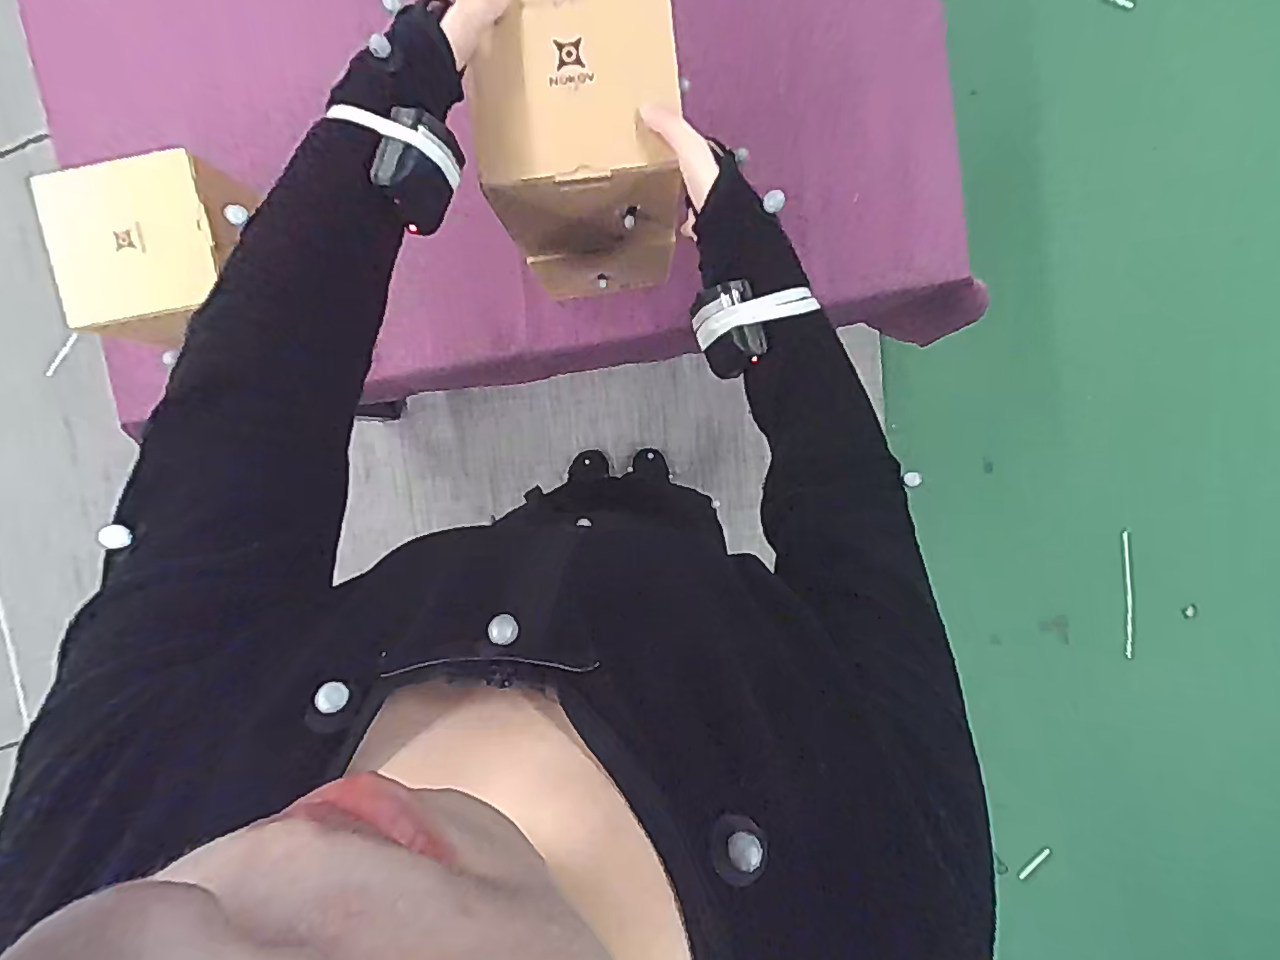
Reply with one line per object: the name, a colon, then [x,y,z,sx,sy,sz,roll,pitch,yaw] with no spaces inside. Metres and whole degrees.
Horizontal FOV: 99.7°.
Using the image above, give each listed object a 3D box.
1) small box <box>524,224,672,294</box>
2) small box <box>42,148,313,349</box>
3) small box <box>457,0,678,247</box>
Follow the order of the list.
small box: [-0.053,-0.338,0.662,0.168,0.176,0.179,-8,94,1]
small box: [-0.552,-0.269,0.670,0.179,0.176,0.168,-11,94,0]
small box: [-0.055,-0.330,0.500,0.168,0.176,0.179,-5,94,0]
